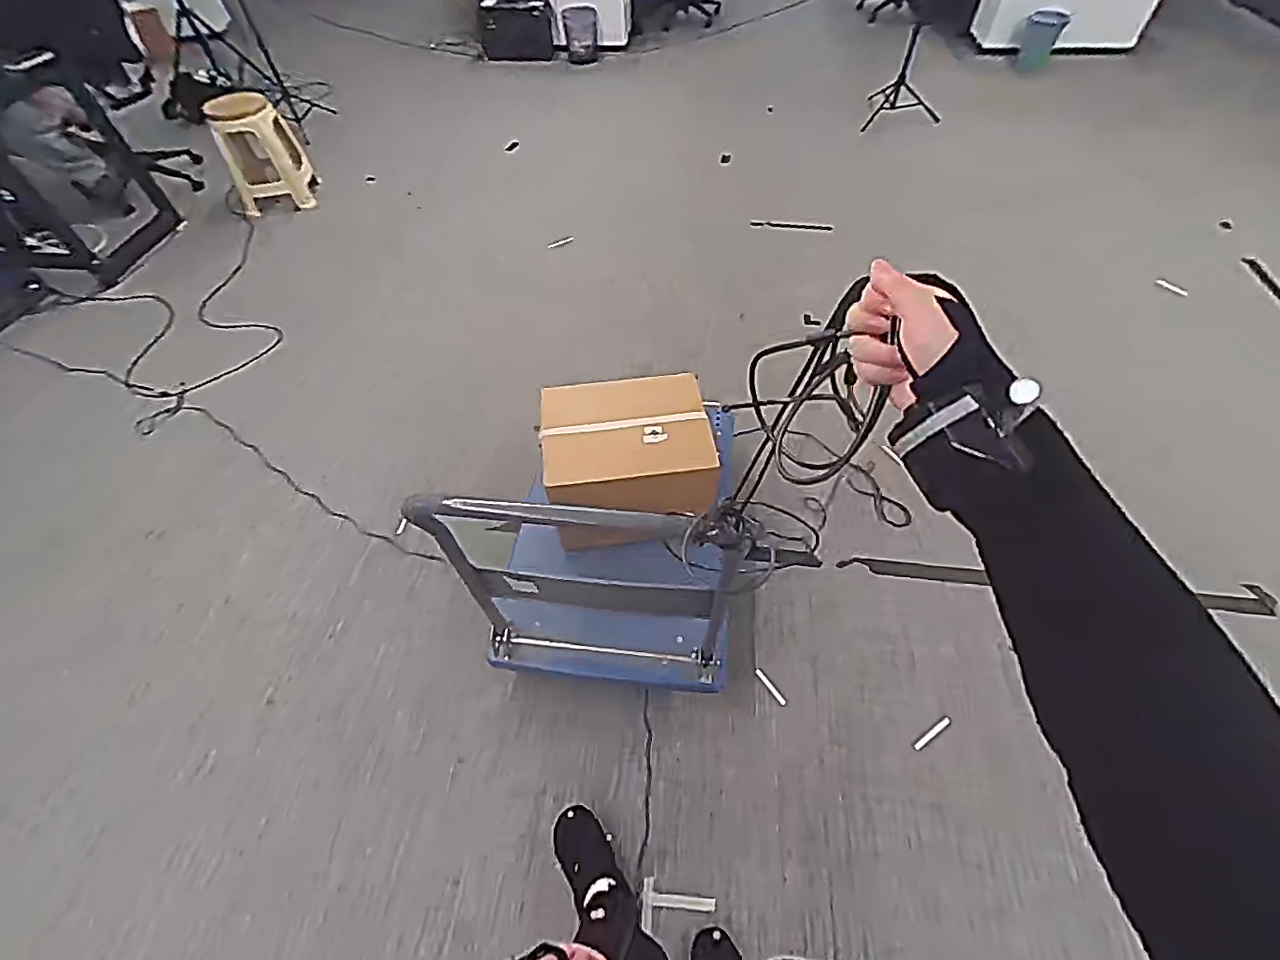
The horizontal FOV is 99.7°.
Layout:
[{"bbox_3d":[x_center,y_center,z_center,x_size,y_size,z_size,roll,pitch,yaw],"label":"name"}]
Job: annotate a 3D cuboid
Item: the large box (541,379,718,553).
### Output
[{"bbox_3d":[-0.035,-0.032,1.426,0.408,0.320,0.320,-6,55,-4],"label":"large box"}]
